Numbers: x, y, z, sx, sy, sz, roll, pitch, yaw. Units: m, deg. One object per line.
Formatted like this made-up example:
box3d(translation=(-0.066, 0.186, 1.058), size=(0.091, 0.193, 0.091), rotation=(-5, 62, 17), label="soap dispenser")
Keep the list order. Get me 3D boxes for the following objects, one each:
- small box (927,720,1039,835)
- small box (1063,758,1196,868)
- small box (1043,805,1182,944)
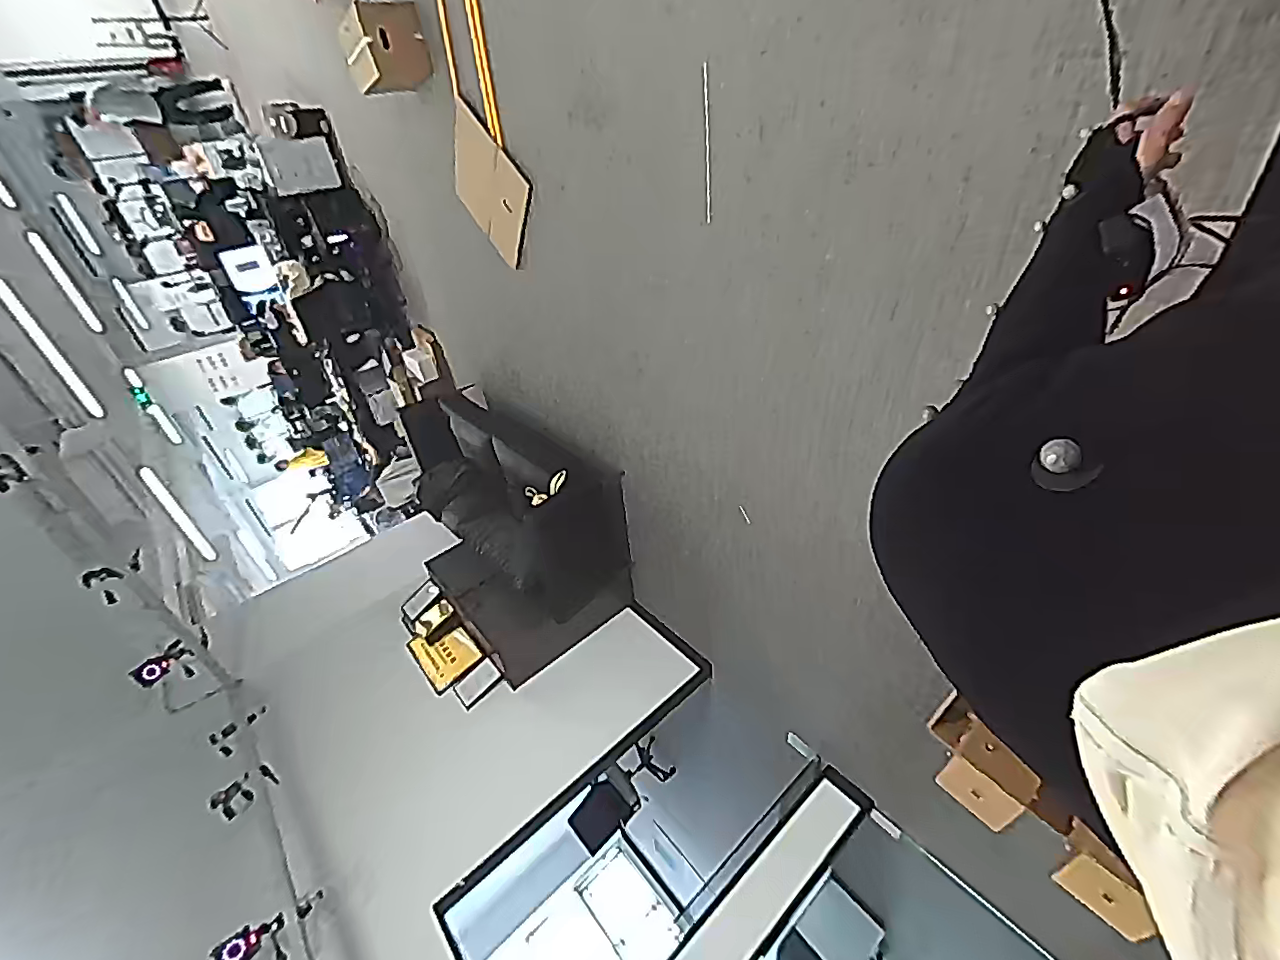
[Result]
box3d(translation=(0.888, 0.762, 1.398), size=(0.168, 0.176, 0.179), rotation=(37, 145, 35), label="small box")
box3d(translation=(1.196, 0.831, 1.322), size=(0.179, 0.176, 0.168), rotation=(34, 142, 36), label="small box")
box3d(translation=(1.077, 0.895, 1.234), size=(0.168, 0.176, 0.179), rotation=(35, 143, 38), label="small box")
